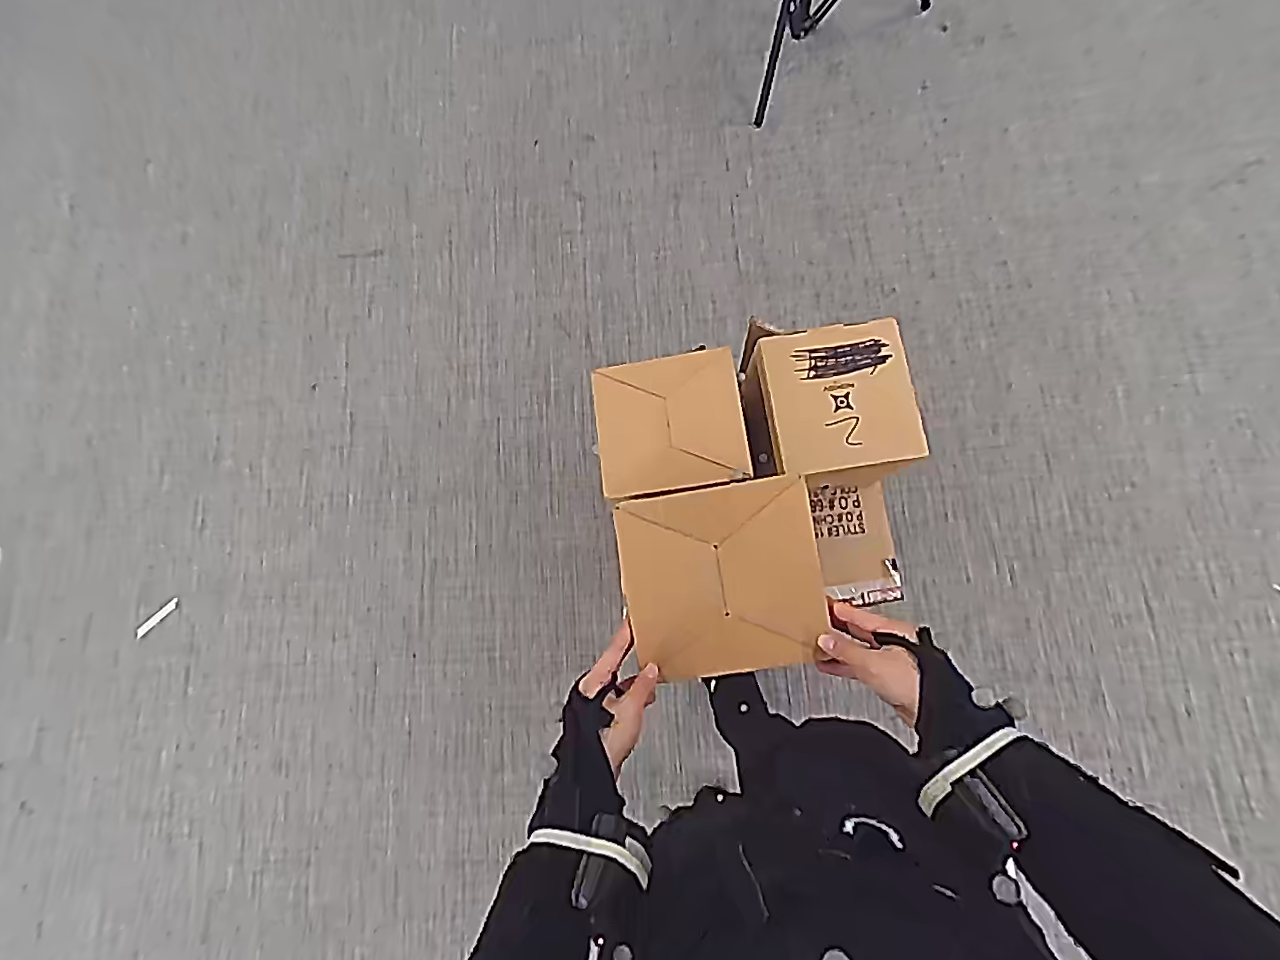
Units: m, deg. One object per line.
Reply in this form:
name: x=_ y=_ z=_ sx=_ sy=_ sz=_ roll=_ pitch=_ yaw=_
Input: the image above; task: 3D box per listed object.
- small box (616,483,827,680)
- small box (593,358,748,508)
small box: x=0.076 y=0.096 z=0.567 sx=0.179 sy=0.176 sz=0.168 roll=-9 pitch=88 yaw=5
small box: x=0.045 y=-0.050 z=0.727 sx=0.179 sy=0.176 sz=0.168 roll=-8 pitch=78 yaw=6
